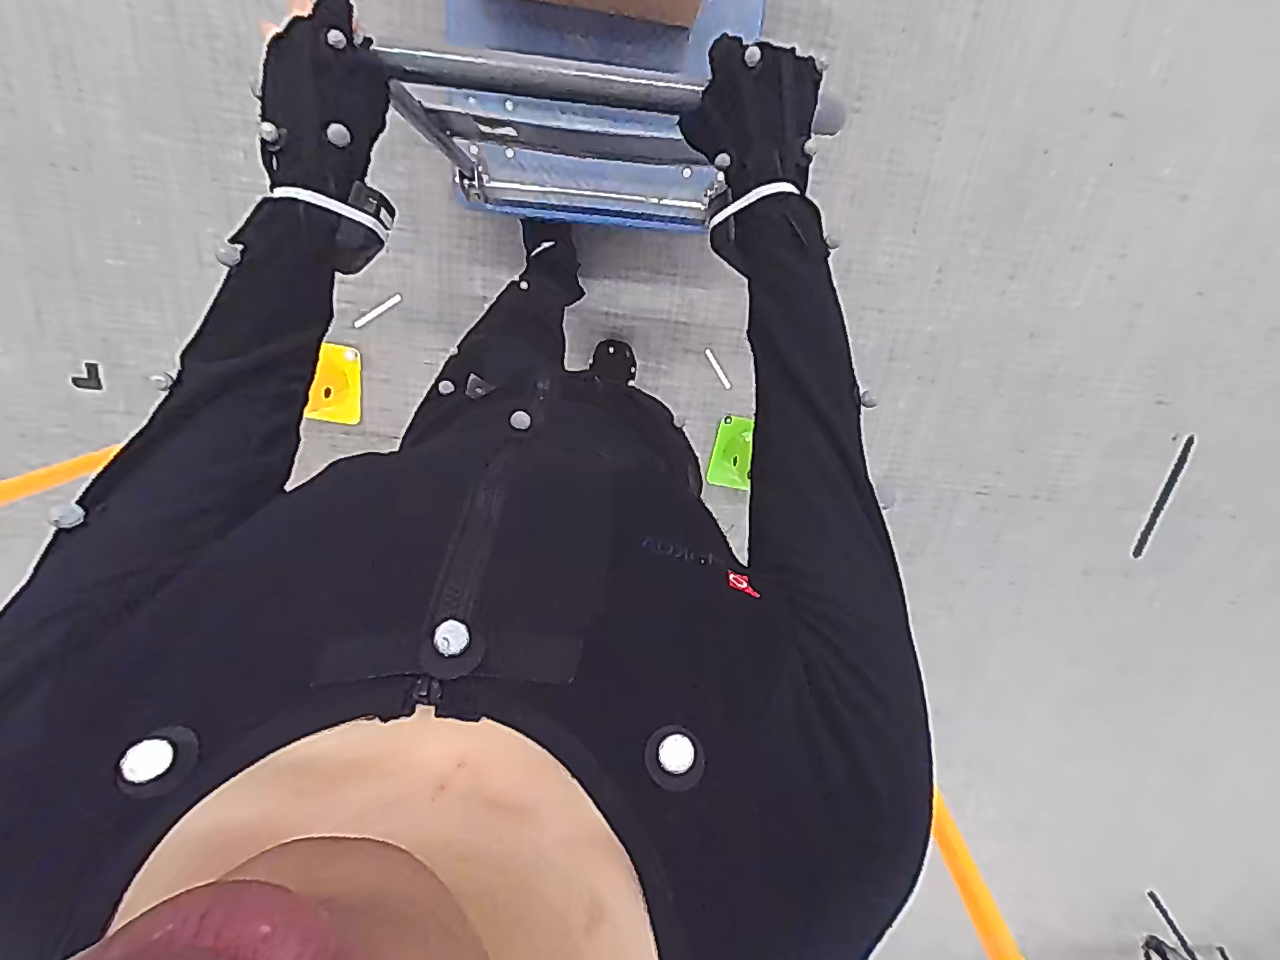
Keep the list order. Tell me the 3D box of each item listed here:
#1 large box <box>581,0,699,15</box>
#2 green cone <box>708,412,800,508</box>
[{"bbox_3d":[-0.075,-0.959,0.800,0.408,0.320,0.320,6,111,-4],"label":"large box"},{"bbox_3d":[0.311,-0.019,1.338,0.202,0.368,0.200,9,111,-7],"label":"green cone"}]
